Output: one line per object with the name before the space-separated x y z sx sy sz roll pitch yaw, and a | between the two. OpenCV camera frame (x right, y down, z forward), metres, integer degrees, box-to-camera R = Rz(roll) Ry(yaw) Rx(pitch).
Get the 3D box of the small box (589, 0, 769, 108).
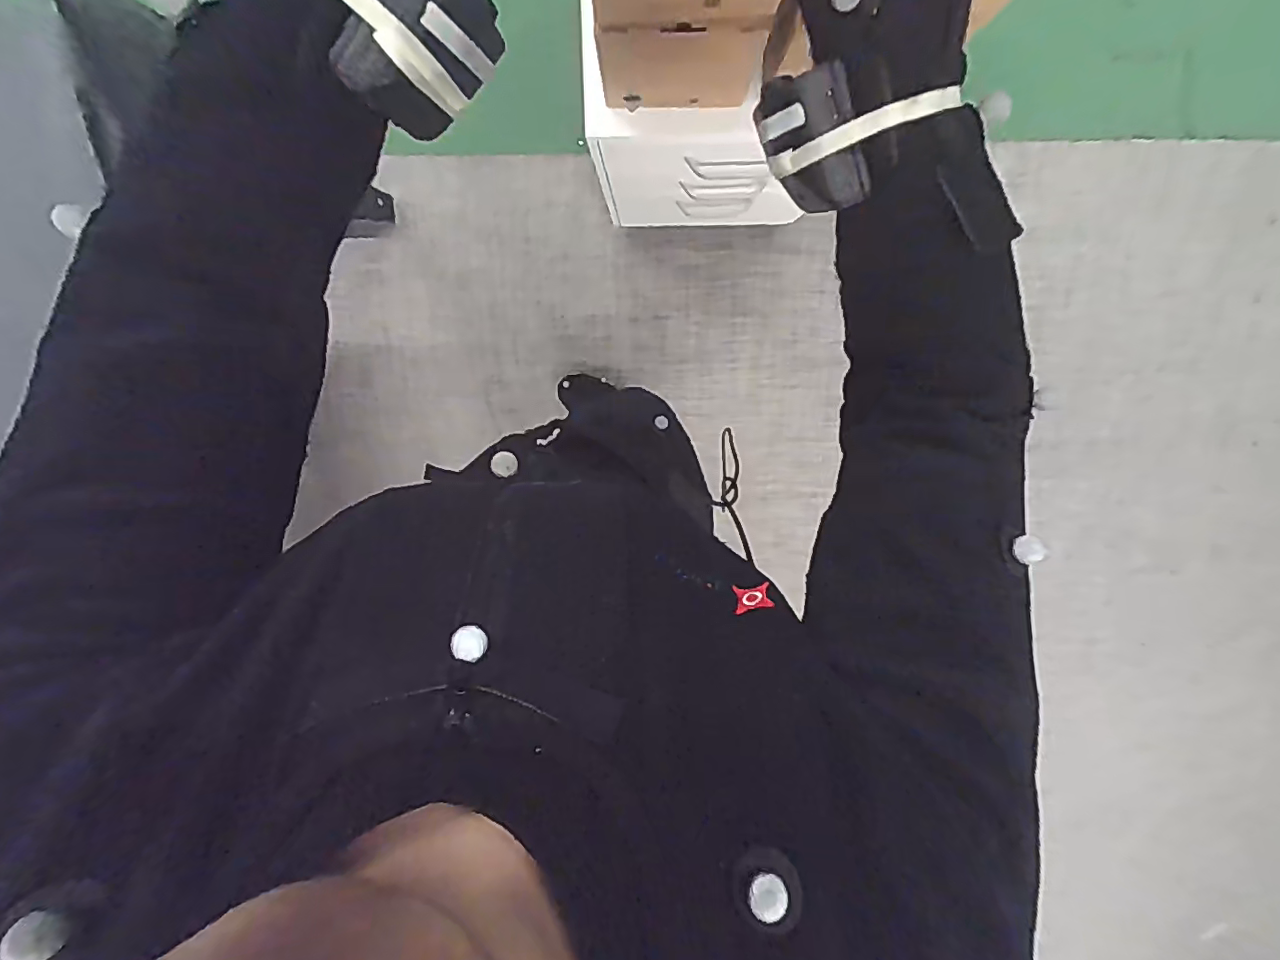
small box | 0.037 -0.508 0.552 0.168 0.176 0.179 0 104 -1
